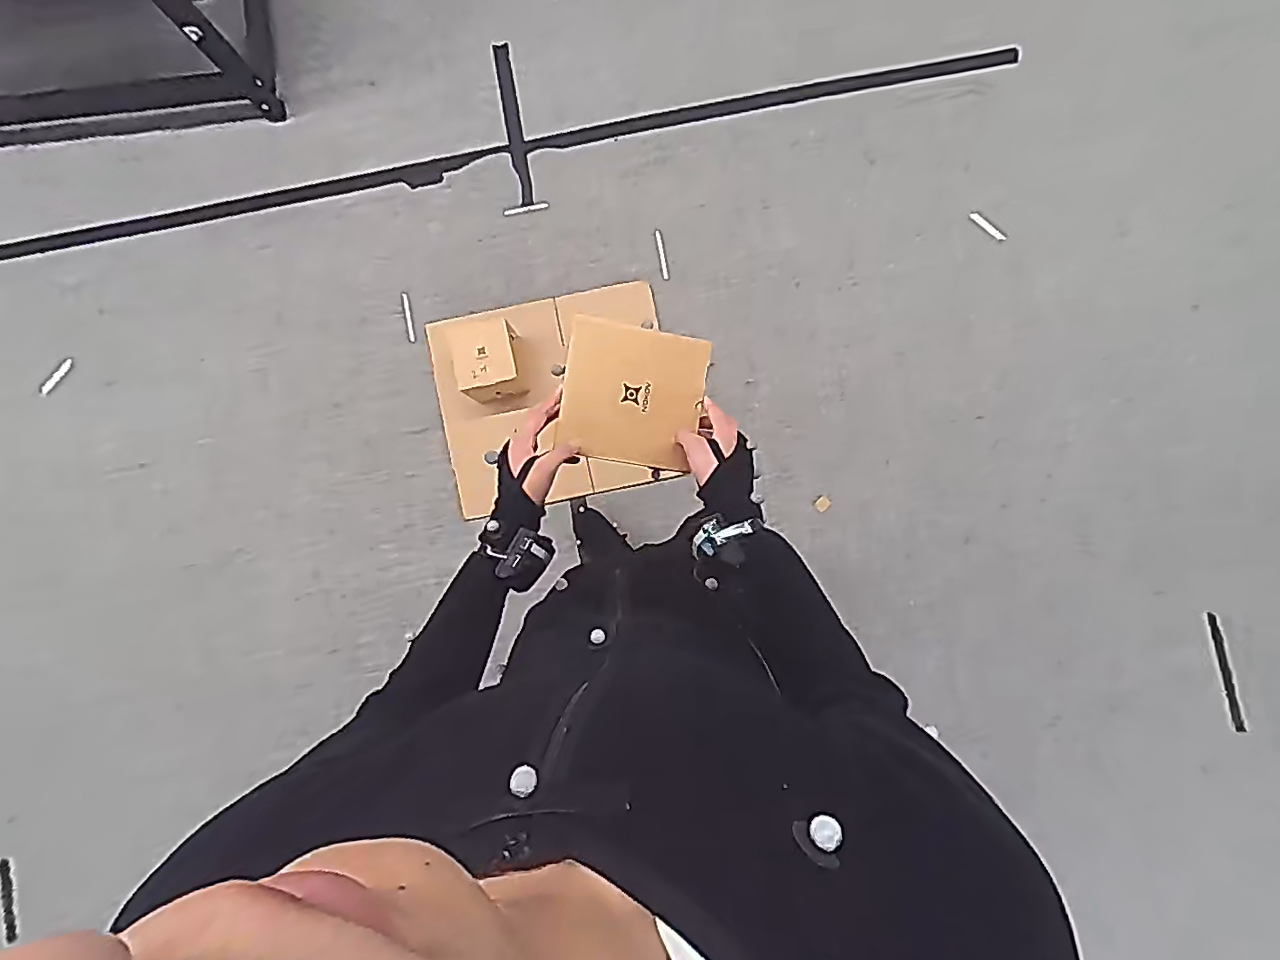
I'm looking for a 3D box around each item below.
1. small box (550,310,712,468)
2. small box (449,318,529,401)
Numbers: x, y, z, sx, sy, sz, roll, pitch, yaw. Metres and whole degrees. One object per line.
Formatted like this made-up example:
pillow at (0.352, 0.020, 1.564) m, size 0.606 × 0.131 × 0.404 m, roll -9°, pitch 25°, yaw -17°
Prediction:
small box at (-0.023, -0.112, 0.726) m, size 0.179 × 0.176 × 0.168 m, roll 9°, pitch 93°, yaw -12°
small box at (-0.428, -0.341, 1.552) m, size 0.168 × 0.176 × 0.179 m, roll -12°, pitch 88°, yaw 0°
